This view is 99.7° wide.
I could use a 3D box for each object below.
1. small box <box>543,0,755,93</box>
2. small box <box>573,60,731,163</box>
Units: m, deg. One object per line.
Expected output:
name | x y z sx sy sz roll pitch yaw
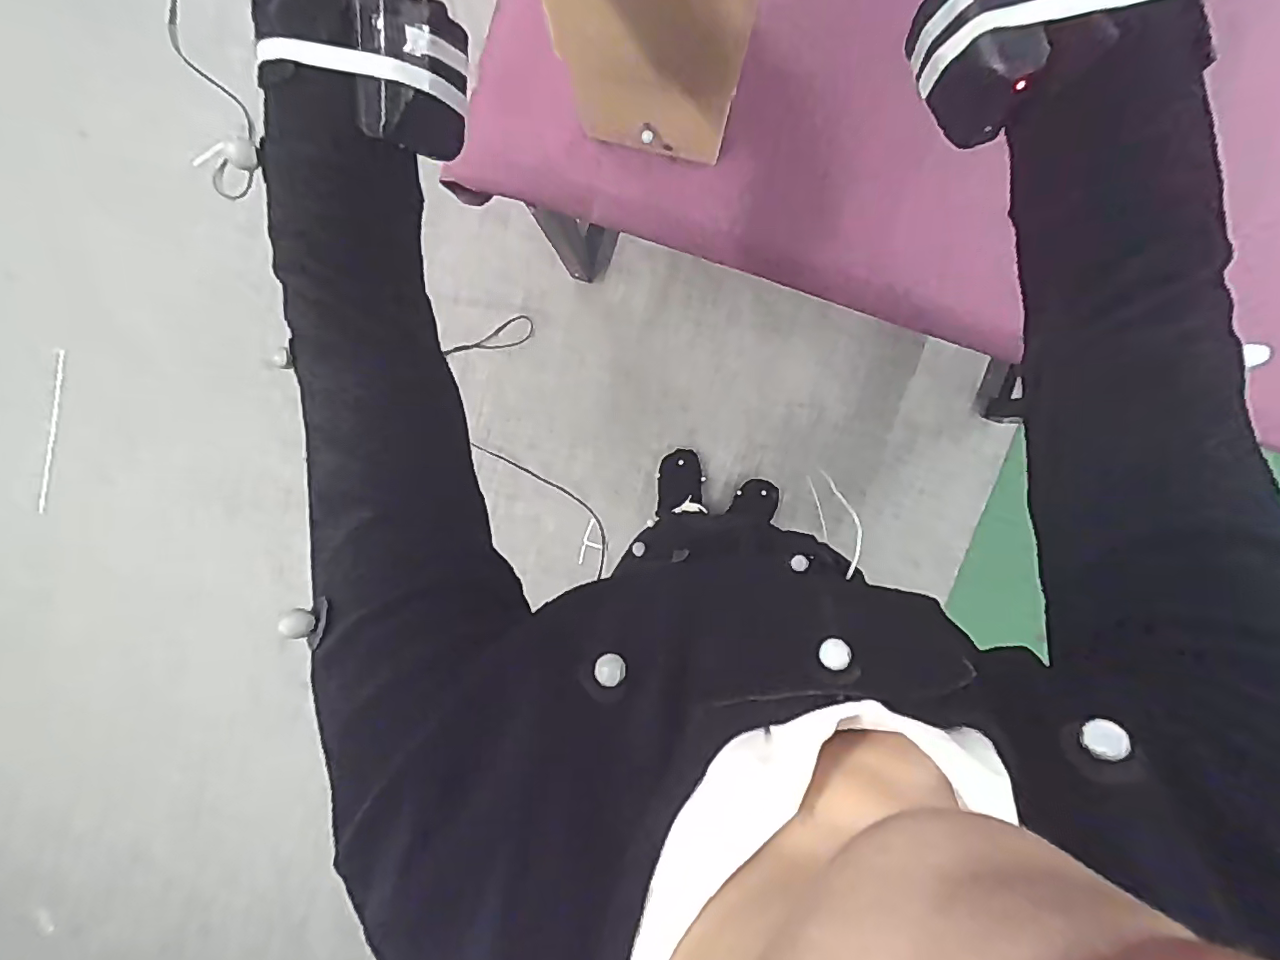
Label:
small box | 0.021 -0.455 0.433 0.179 0.176 0.168 14 97 0
small box | 0.024 -0.491 0.592 0.168 0.176 0.179 14 96 -1
